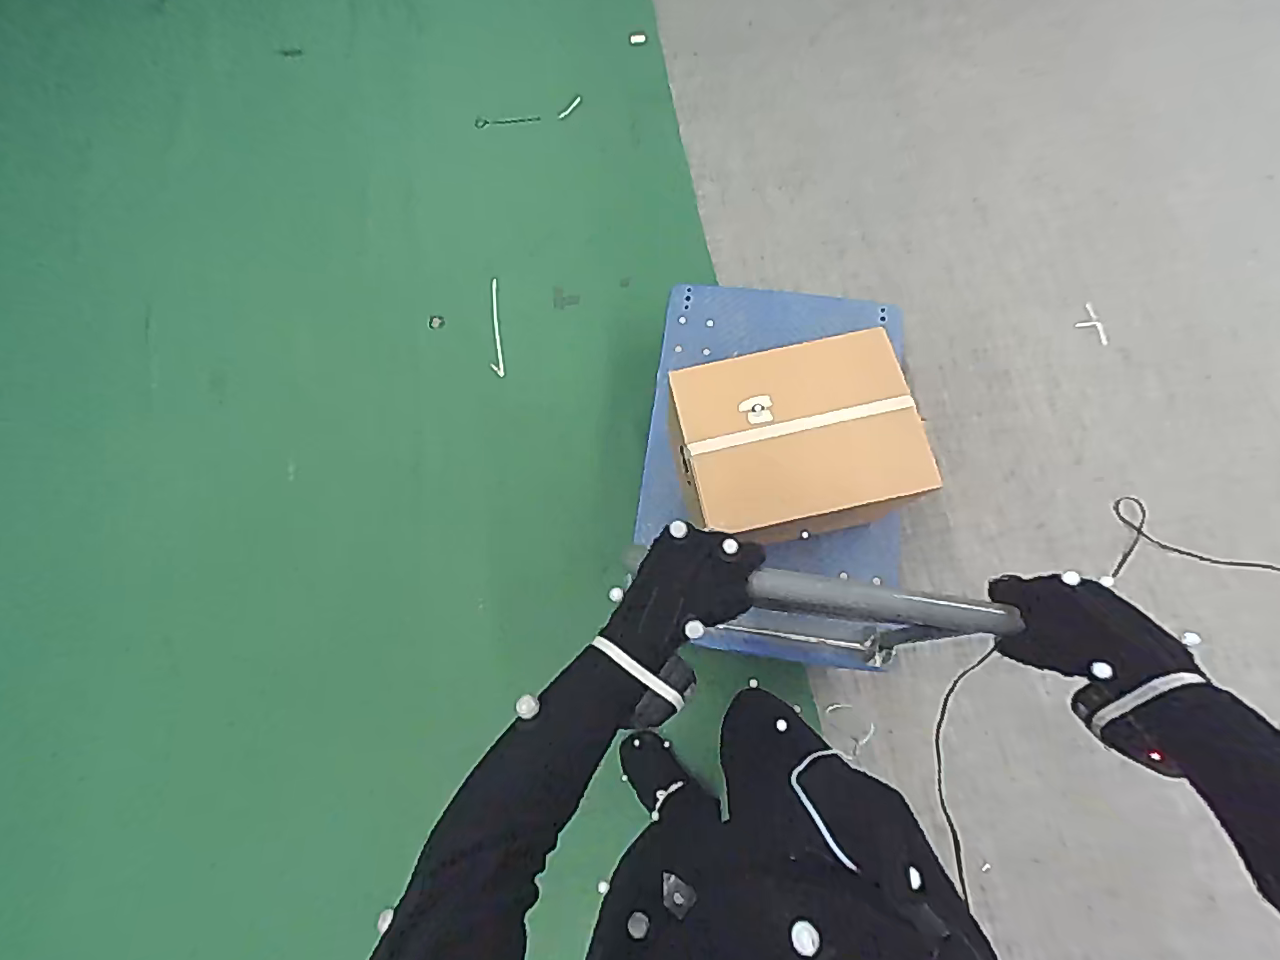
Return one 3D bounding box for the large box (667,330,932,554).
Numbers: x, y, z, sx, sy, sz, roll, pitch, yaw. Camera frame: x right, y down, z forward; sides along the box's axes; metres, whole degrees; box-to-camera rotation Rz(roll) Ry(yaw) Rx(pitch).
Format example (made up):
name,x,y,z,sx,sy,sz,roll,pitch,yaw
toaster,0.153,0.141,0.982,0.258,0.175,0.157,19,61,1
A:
name,x,y,z,sx,sy,sz,roll,pitch,yaw
large box,0.285,-0.054,1.100,0.408,0.320,0.320,-13,74,0
